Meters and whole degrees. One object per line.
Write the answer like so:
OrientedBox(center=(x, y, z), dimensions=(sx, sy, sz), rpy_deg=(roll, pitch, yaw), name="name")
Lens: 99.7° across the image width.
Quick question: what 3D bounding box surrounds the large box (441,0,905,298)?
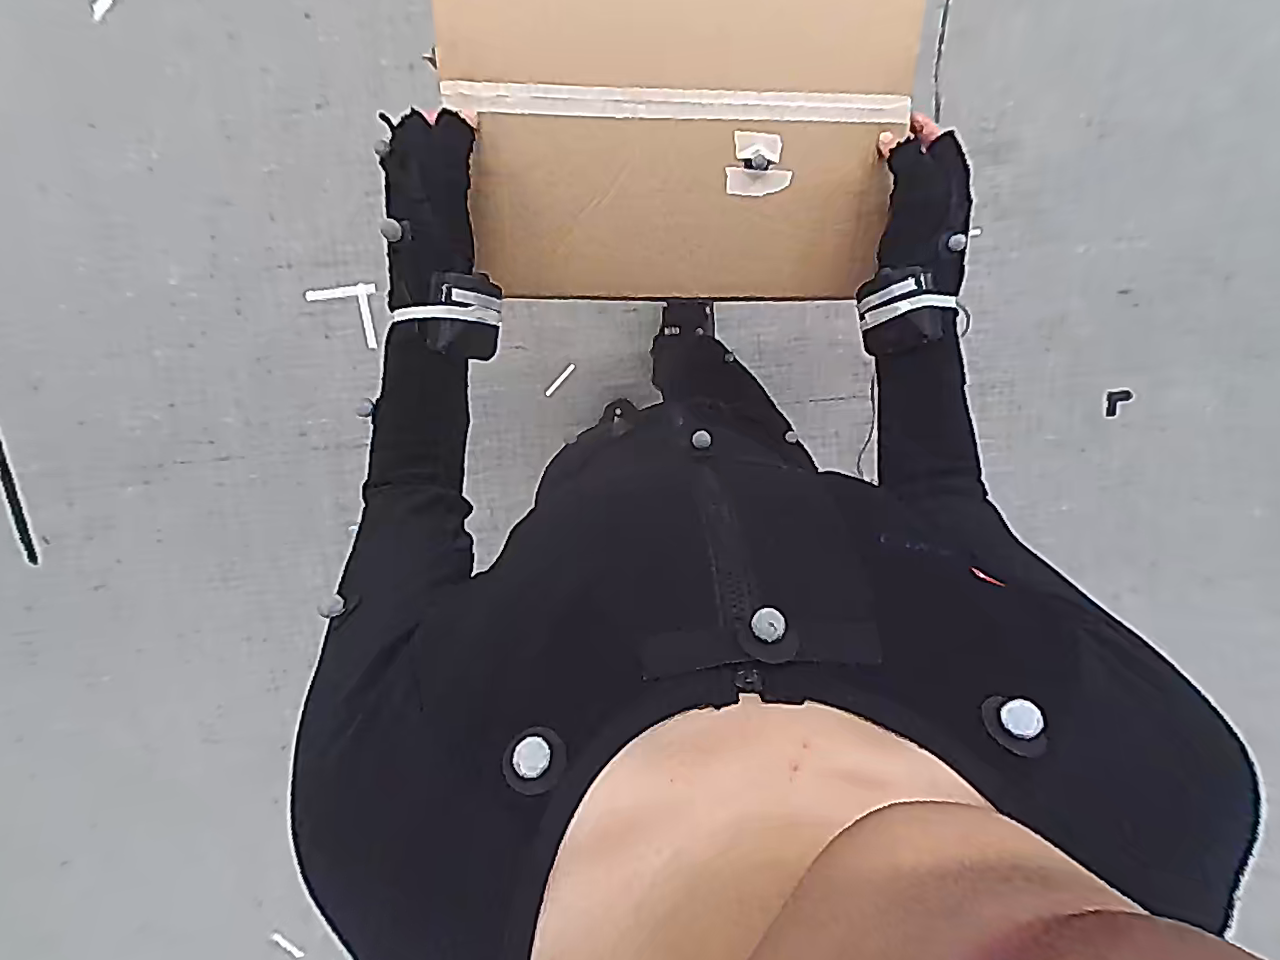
OrientedBox(center=(0.020, -0.380, 0.622), dimensions=(0.408, 0.320, 0.320), rpy_deg=(-2, 108, -5), name="large box")
